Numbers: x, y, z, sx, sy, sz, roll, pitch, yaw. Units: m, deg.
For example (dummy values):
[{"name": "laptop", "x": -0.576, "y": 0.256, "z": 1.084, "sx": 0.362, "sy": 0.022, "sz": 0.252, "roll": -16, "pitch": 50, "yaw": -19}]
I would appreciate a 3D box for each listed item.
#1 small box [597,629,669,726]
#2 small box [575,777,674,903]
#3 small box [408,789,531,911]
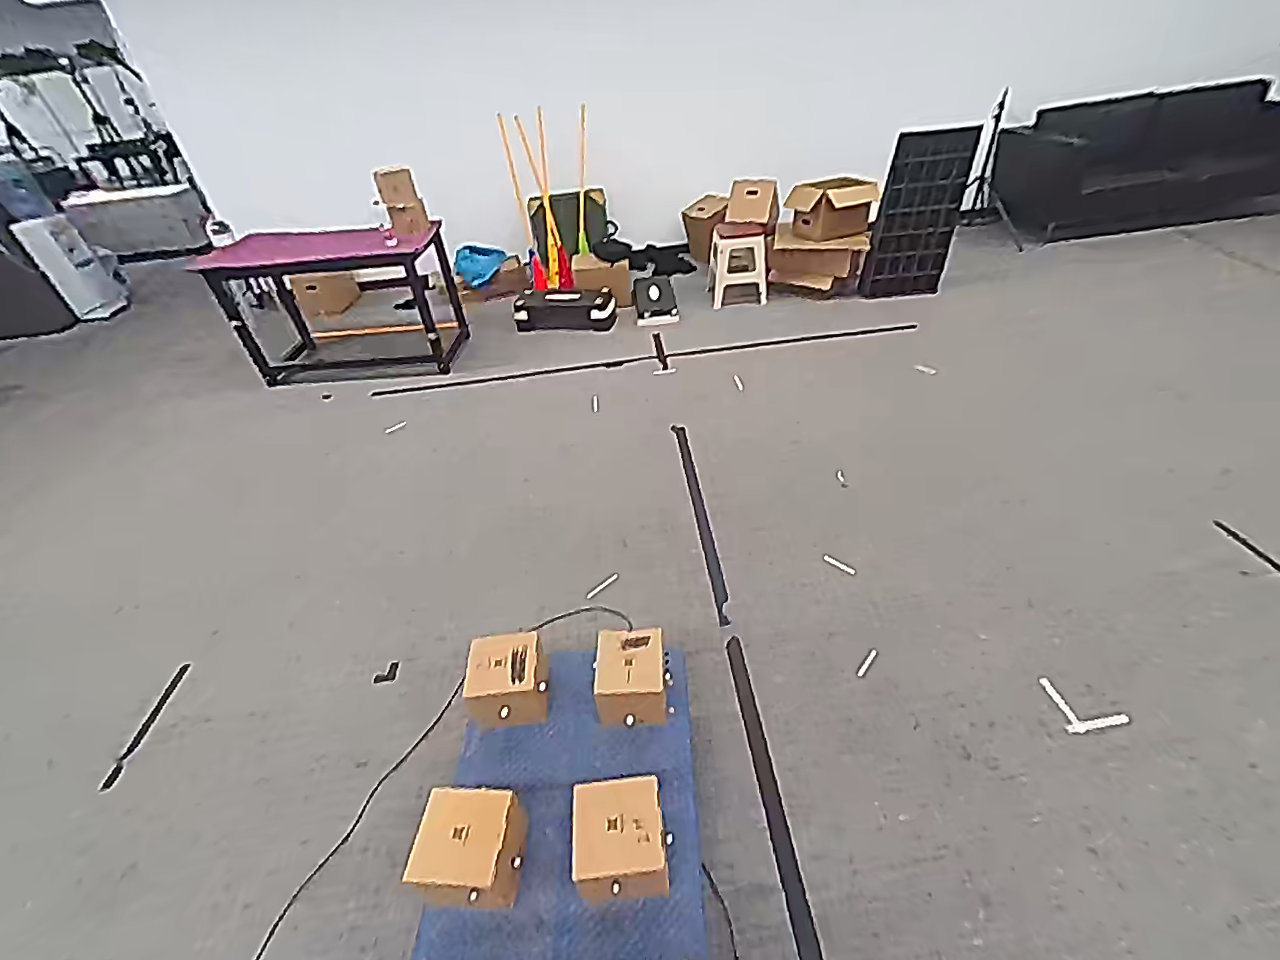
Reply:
[{"name": "small box", "x": -0.013, "y": 0.505, "z": 1.381, "sx": 0.168, "sy": 0.176, "sz": 0.179, "roll": -4, "pitch": 40, "yaw": 3}, {"name": "small box", "x": -0.030, "y": 0.735, "z": 1.102, "sx": 0.179, "sy": 0.176, "sz": 0.168, "roll": -7, "pitch": 39, "yaw": 0}, {"name": "small box", "x": -0.339, "y": 0.762, "z": 1.113, "sx": 0.179, "sy": 0.176, "sz": 0.168, "roll": -1, "pitch": 39, "yaw": 4}]
